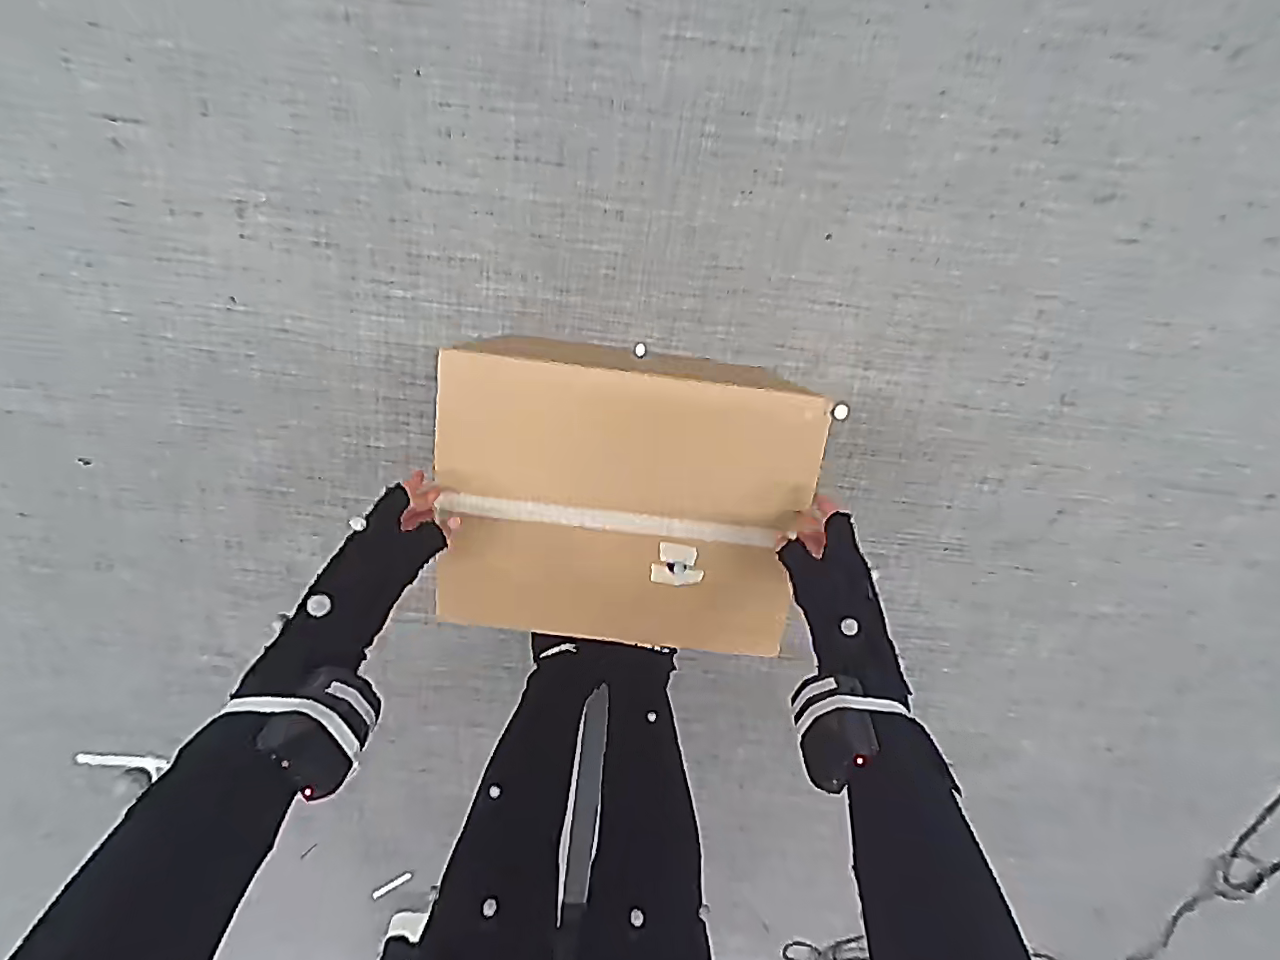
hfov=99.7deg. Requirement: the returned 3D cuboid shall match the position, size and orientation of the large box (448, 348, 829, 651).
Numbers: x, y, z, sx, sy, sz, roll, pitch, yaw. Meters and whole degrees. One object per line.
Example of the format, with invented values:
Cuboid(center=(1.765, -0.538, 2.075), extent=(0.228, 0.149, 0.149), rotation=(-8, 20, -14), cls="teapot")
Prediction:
Cuboid(center=(-0.017, 0.000, 0.743), extent=(0.408, 0.320, 0.320), rotation=(7, 108, -3), cls="large box")
